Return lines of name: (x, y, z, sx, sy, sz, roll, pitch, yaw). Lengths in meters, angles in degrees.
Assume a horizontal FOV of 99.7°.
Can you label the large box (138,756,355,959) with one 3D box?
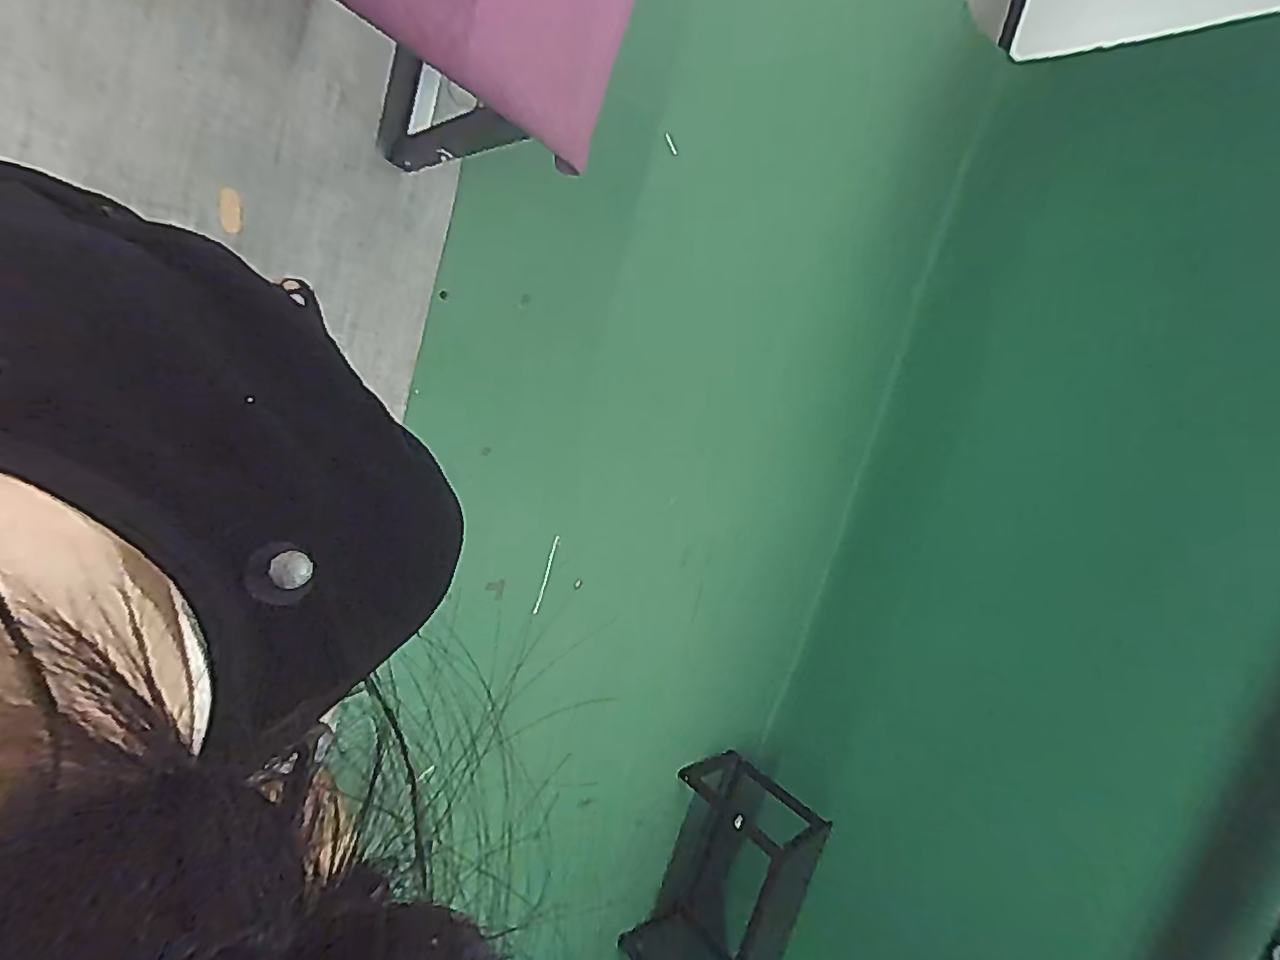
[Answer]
large box: (-1.042, 1.045, 1.452, 0.408, 0.320, 0.320, -11, 116, -44)
